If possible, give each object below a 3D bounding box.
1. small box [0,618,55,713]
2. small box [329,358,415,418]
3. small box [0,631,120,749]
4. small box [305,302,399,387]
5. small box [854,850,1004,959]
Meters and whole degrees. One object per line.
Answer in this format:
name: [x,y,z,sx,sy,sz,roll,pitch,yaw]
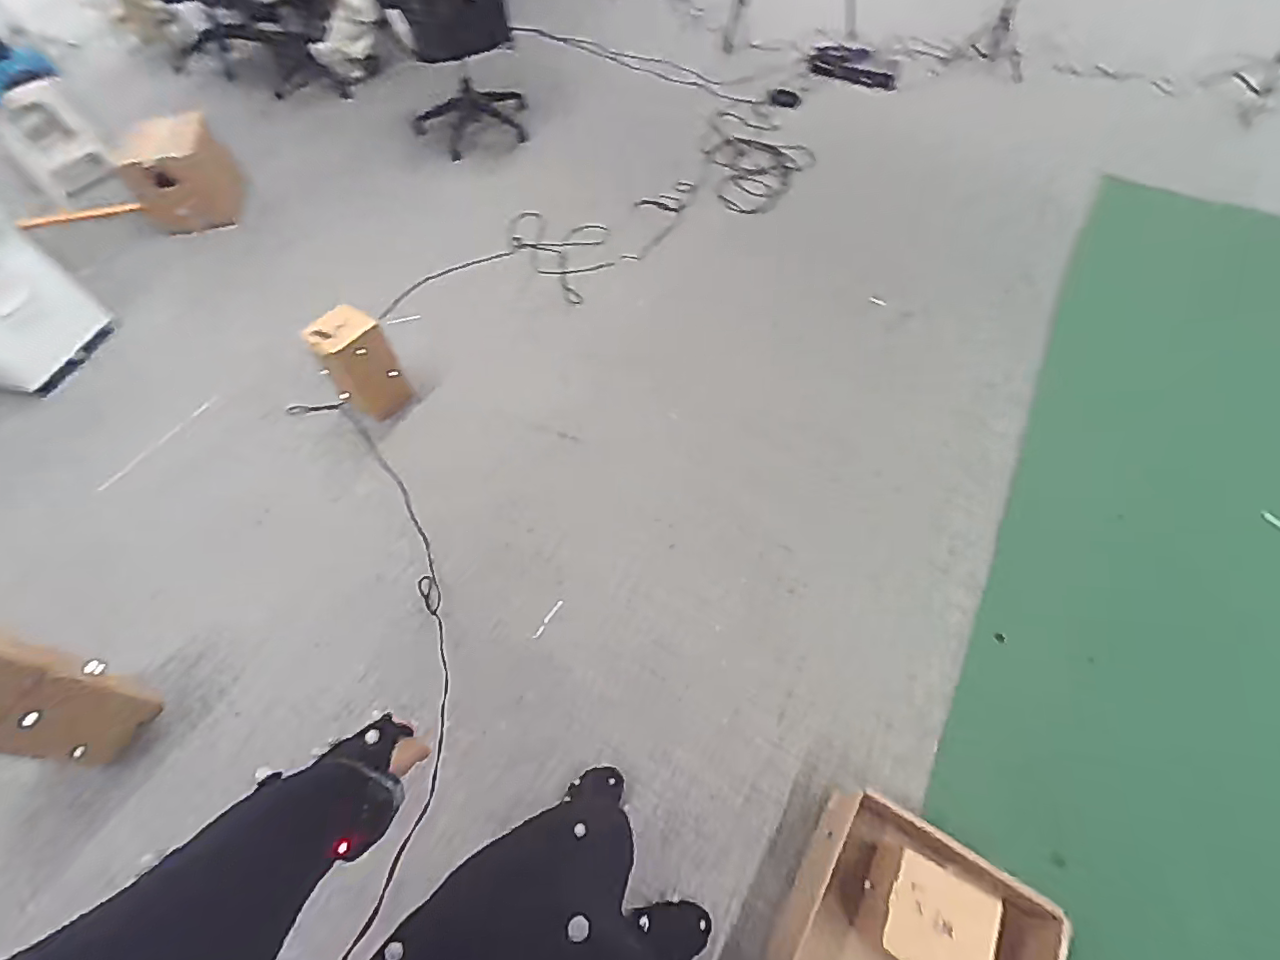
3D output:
small box: [-1.334,0.367,1.051,0.168,0.176,0.179,25,62,16]
small box: [-0.916,-0.344,1.869,0.168,0.176,0.179,28,62,18]
small box: [-1.326,0.463,1.184,0.168,0.176,0.179,25,60,15]
small box: [-0.909,-0.428,1.727,0.168,0.176,0.179,28,61,18]
small box: [0.530,0.823,1.010,0.179,0.176,0.168,26,62,17]
